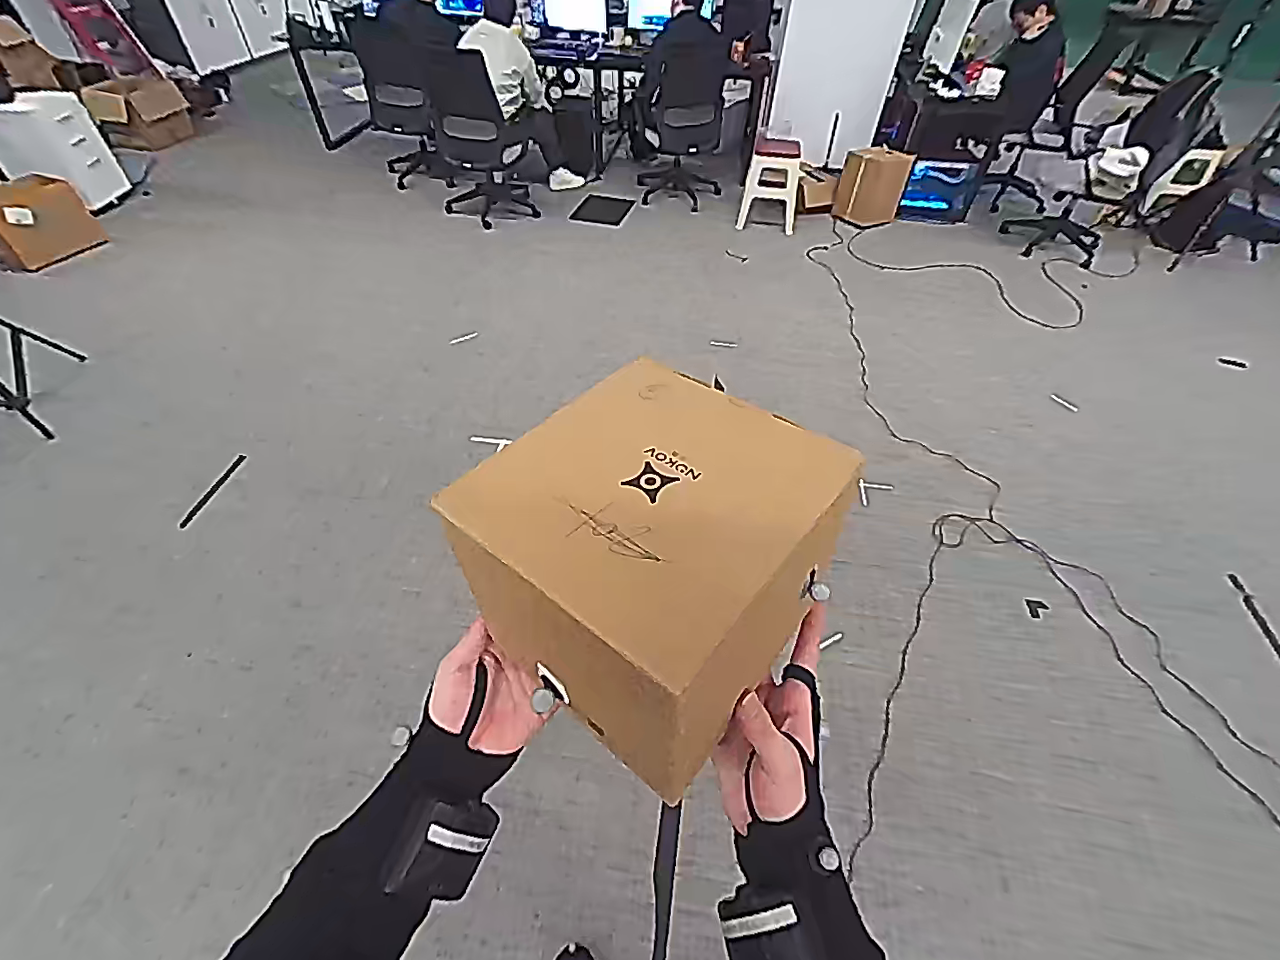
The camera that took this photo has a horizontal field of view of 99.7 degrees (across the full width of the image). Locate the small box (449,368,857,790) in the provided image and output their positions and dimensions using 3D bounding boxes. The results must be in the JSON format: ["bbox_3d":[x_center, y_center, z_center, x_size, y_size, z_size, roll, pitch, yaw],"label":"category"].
[{"bbox_3d":[0.012,0.060,0.359,0.168,0.176,0.179,29,54,27],"label":"small box"}]
